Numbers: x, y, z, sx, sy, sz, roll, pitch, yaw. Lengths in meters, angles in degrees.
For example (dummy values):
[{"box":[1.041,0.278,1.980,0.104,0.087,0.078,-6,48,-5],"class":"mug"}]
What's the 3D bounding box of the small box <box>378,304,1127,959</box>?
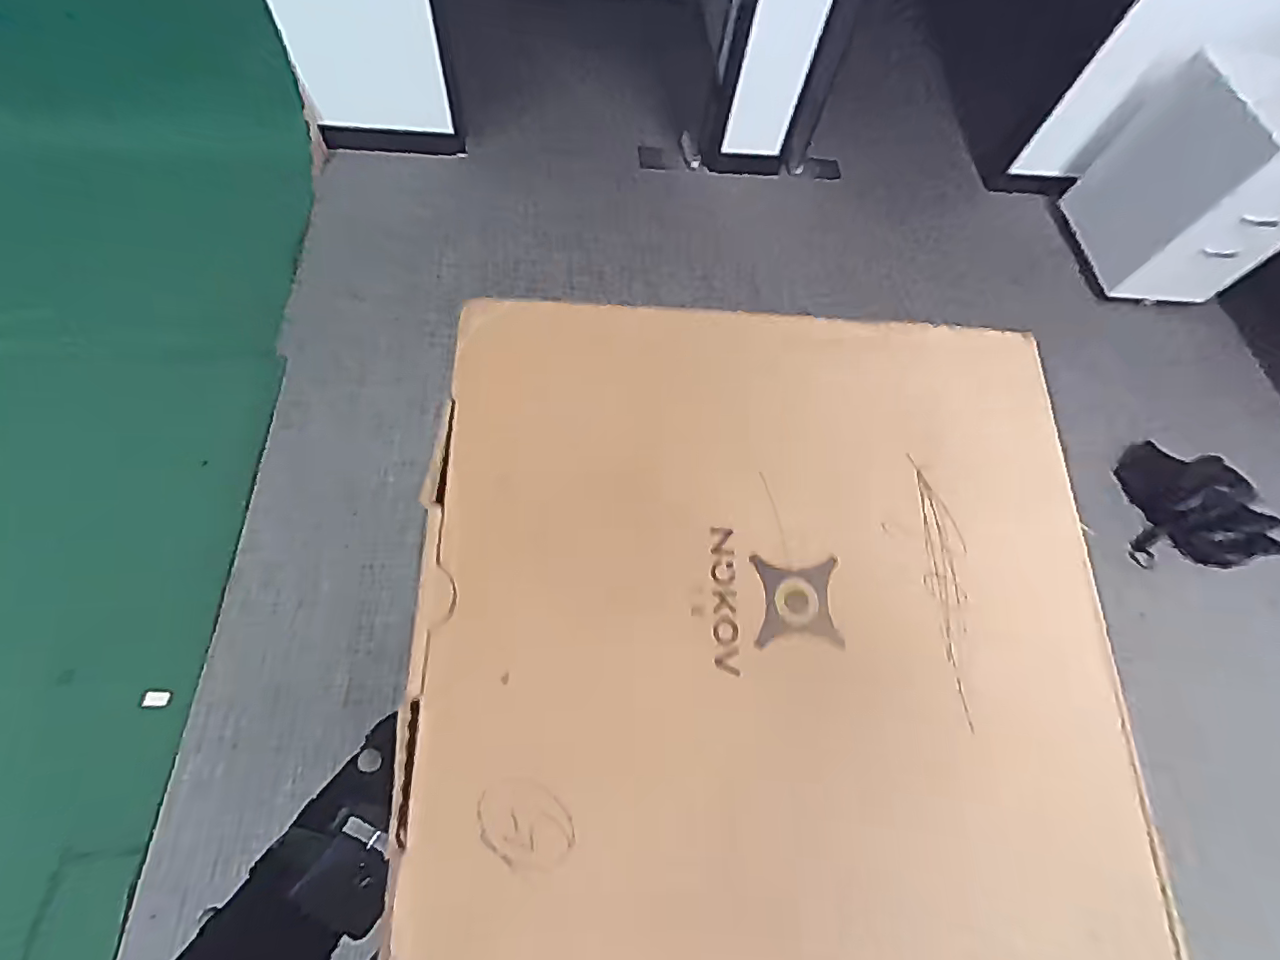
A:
[{"box":[0.022,0.052,0.220,0.179,0.176,0.168,2,73,-7],"class":"small box"}]
